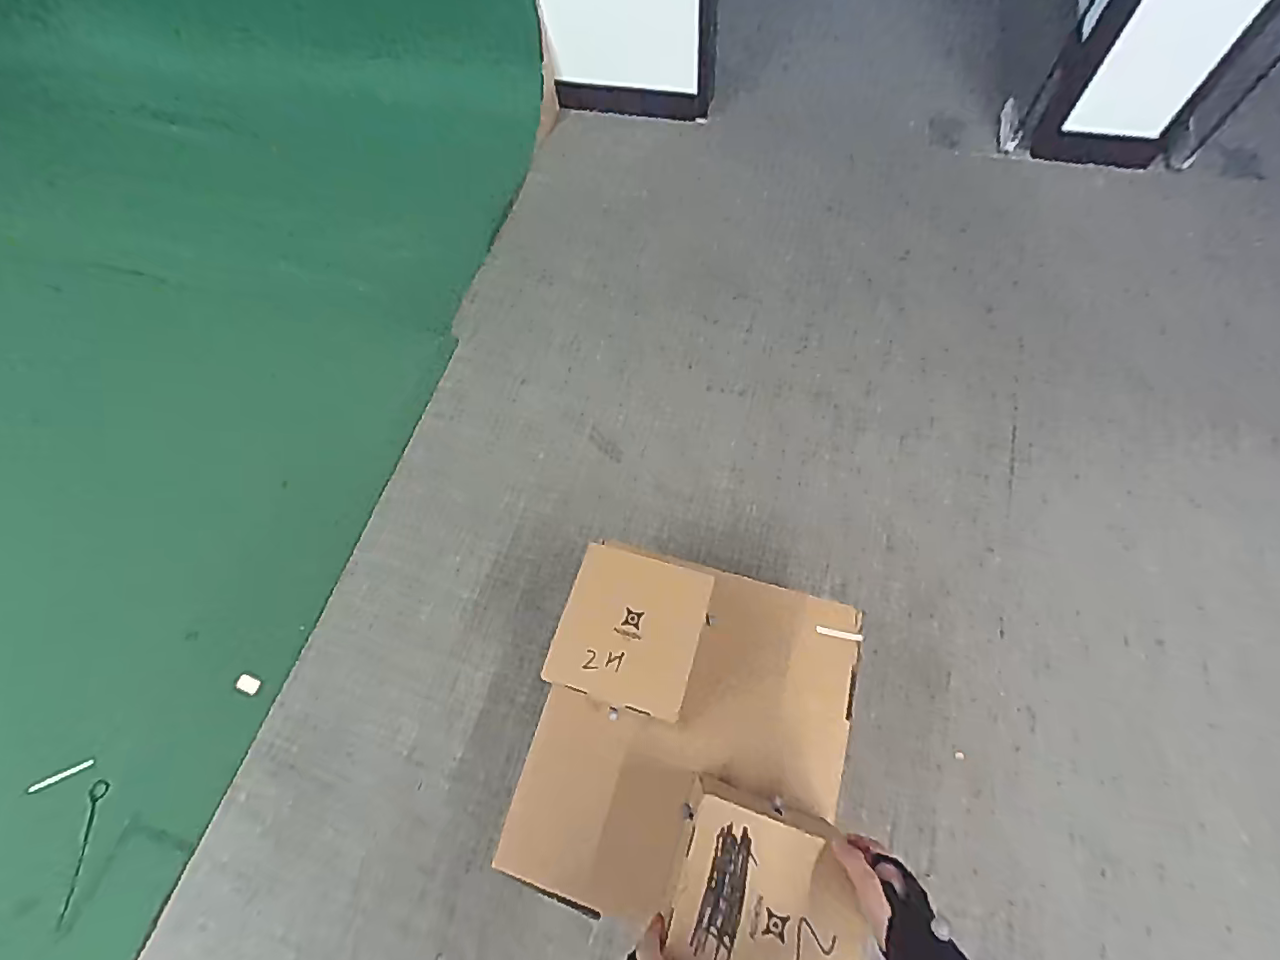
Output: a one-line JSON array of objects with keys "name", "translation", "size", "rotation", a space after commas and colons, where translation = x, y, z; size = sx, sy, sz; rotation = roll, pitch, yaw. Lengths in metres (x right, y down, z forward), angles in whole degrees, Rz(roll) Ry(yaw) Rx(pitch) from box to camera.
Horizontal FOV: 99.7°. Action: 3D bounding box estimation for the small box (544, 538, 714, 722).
[{"name": "small box", "translation": [-0.006, 0.203, 0.714], "size": [0.168, 0.176, 0.179], "rotation": [14, 65, 11]}]
